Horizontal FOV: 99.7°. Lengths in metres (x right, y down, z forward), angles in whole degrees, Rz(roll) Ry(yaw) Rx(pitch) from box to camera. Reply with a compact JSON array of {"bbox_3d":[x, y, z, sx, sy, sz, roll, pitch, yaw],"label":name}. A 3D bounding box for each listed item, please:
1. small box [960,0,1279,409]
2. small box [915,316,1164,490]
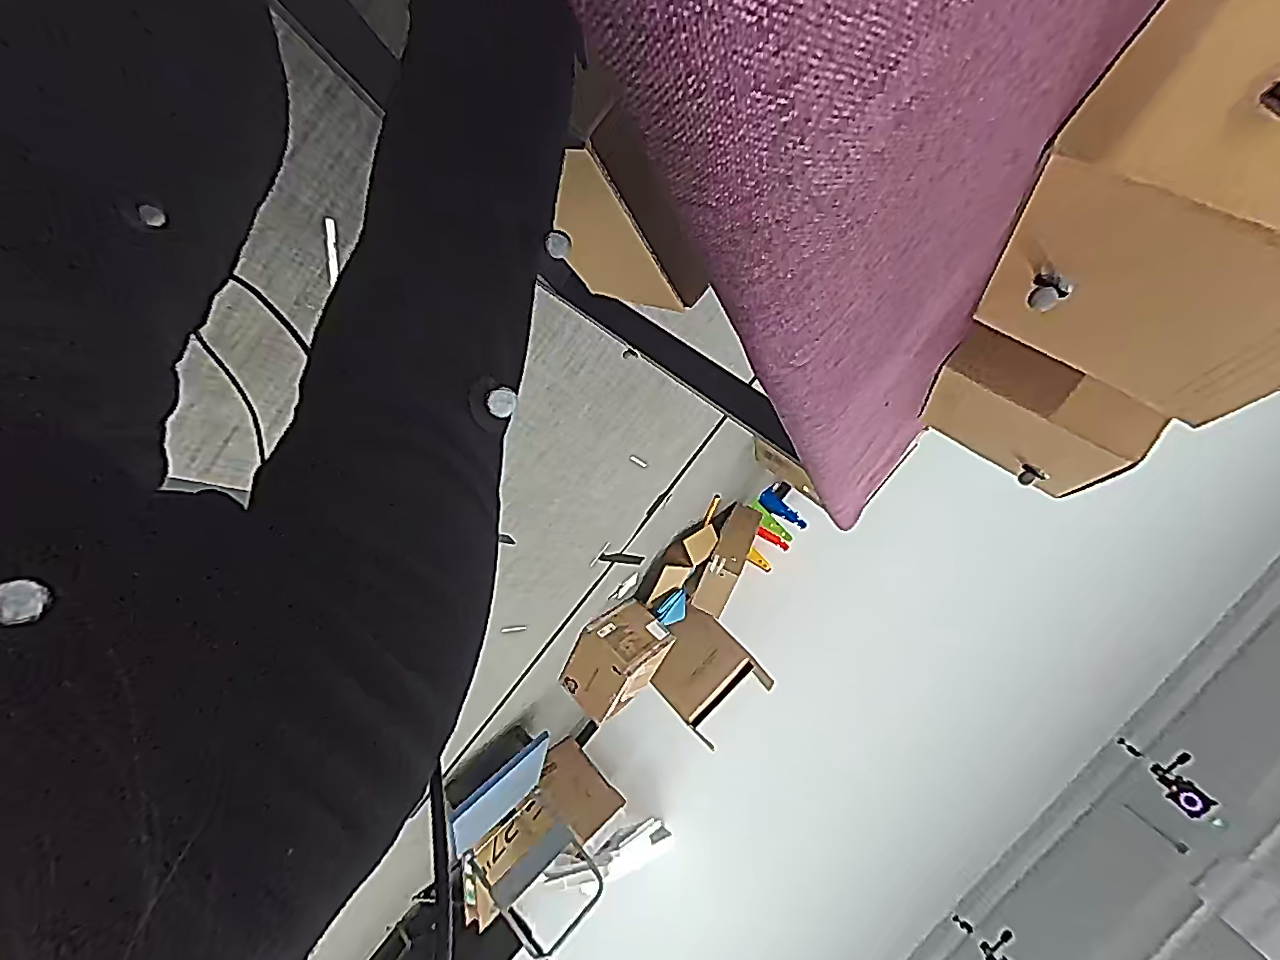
[{"bbox_3d":[0.337,-0.170,0.323,0.168,0.176,0.179,-53,157,2],"label":"small box"},{"bbox_3d":[0.411,-0.115,0.551,0.168,0.176,0.179,-54,158,2],"label":"small box"}]
